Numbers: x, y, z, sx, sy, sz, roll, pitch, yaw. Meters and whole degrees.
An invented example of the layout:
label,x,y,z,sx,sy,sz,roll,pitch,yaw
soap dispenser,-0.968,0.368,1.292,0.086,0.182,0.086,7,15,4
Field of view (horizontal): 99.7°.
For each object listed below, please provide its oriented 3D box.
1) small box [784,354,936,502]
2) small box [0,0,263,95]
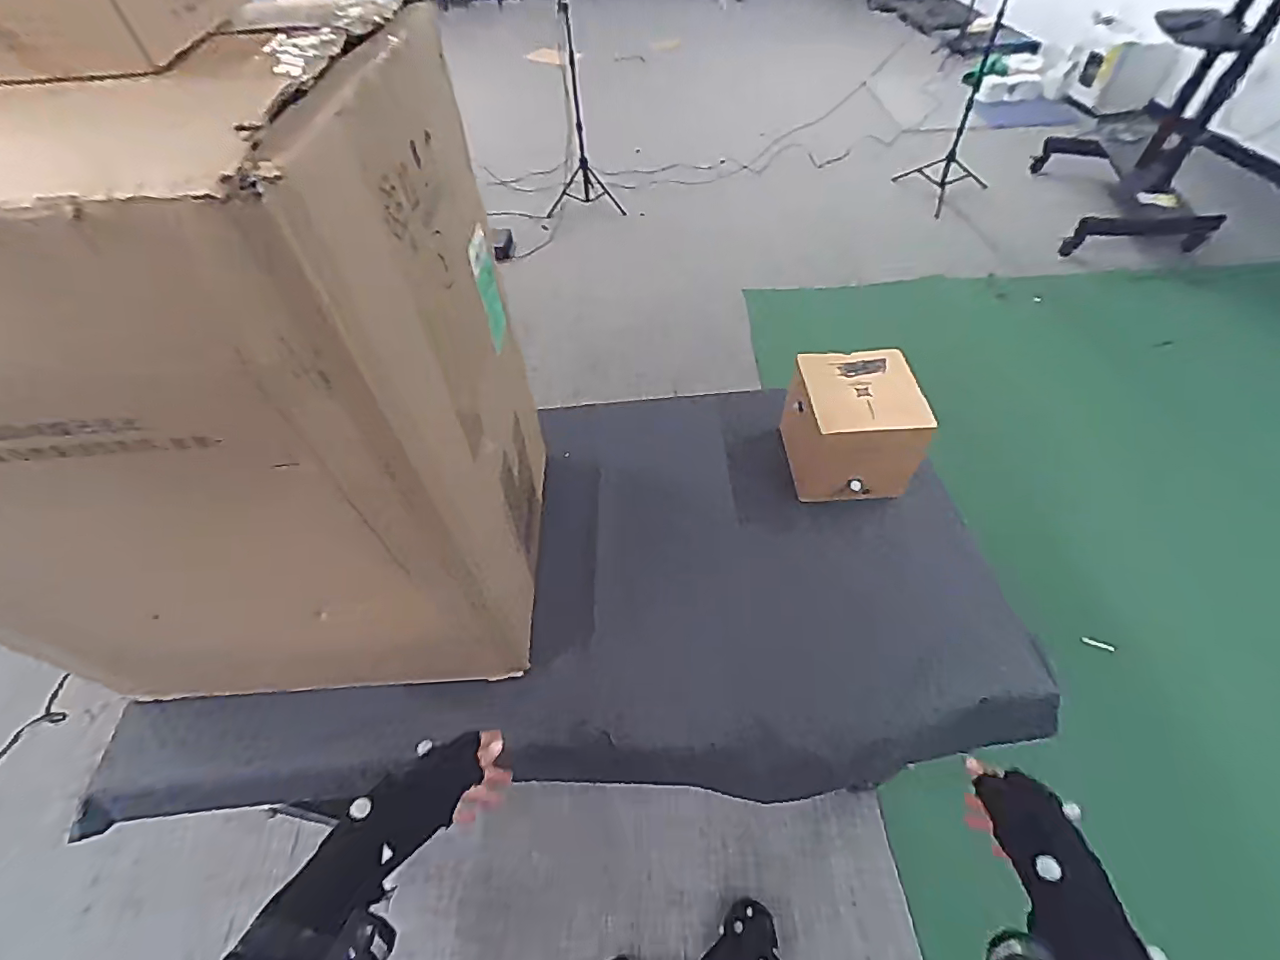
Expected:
label,x,y,z,sx,sy,sz,roll,pitch,yaw
small box,0.340,-0.083,0.880,0.168,0.176,0.179,-3,52,1
small box,-0.355,-0.333,0.293,0.179,0.176,0.168,-5,53,-2
